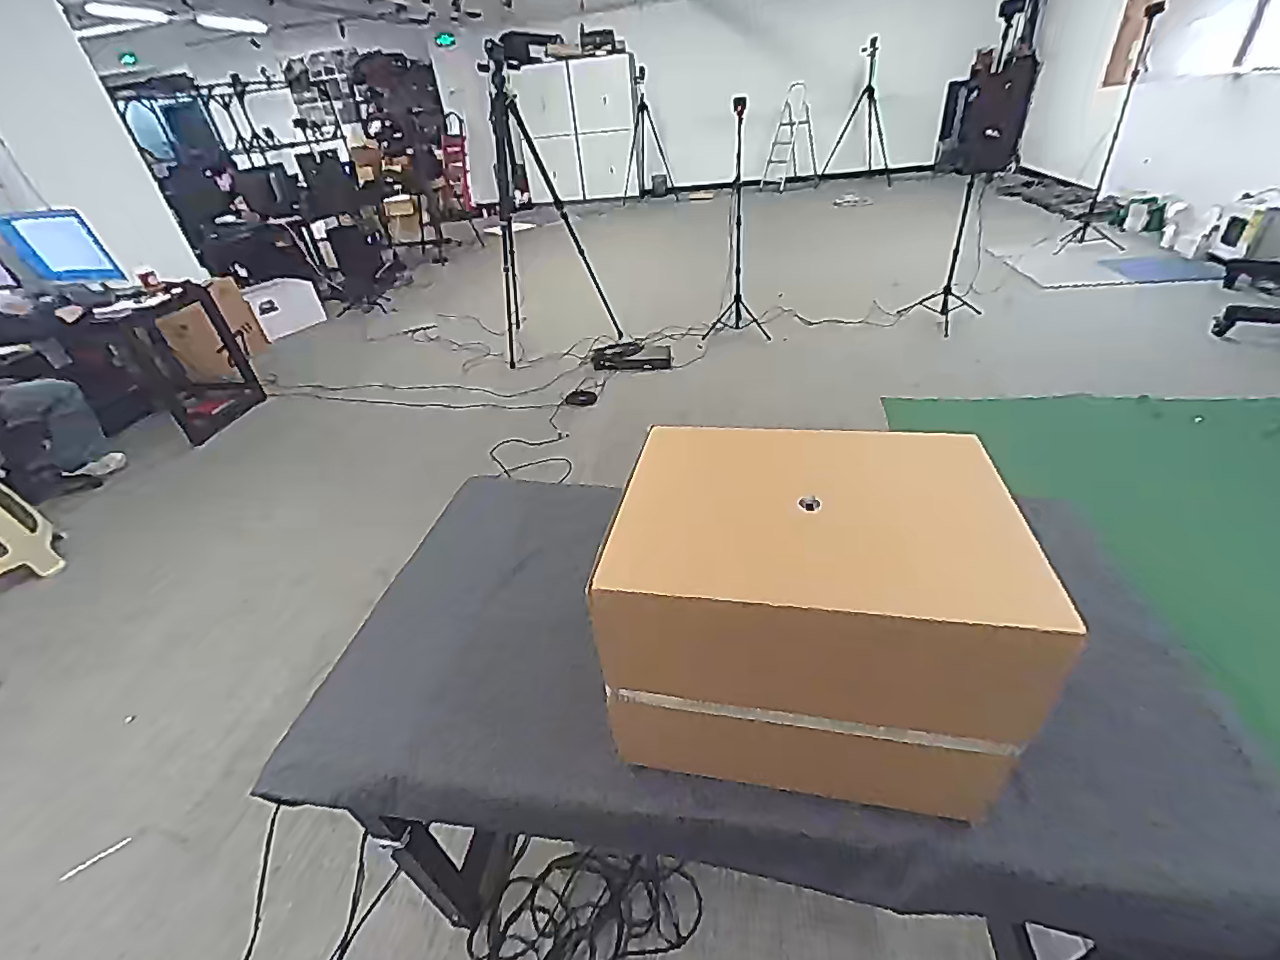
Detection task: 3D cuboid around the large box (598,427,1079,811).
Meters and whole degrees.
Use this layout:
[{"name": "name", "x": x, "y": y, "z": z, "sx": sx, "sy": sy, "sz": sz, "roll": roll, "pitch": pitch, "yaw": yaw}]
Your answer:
[{"name": "large box", "x": 0.193, "y": 0.149, "z": 0.661, "sx": 0.408, "sy": 0.320, "sz": 0.320, "roll": 2, "pitch": 35, "yaw": 12}]
